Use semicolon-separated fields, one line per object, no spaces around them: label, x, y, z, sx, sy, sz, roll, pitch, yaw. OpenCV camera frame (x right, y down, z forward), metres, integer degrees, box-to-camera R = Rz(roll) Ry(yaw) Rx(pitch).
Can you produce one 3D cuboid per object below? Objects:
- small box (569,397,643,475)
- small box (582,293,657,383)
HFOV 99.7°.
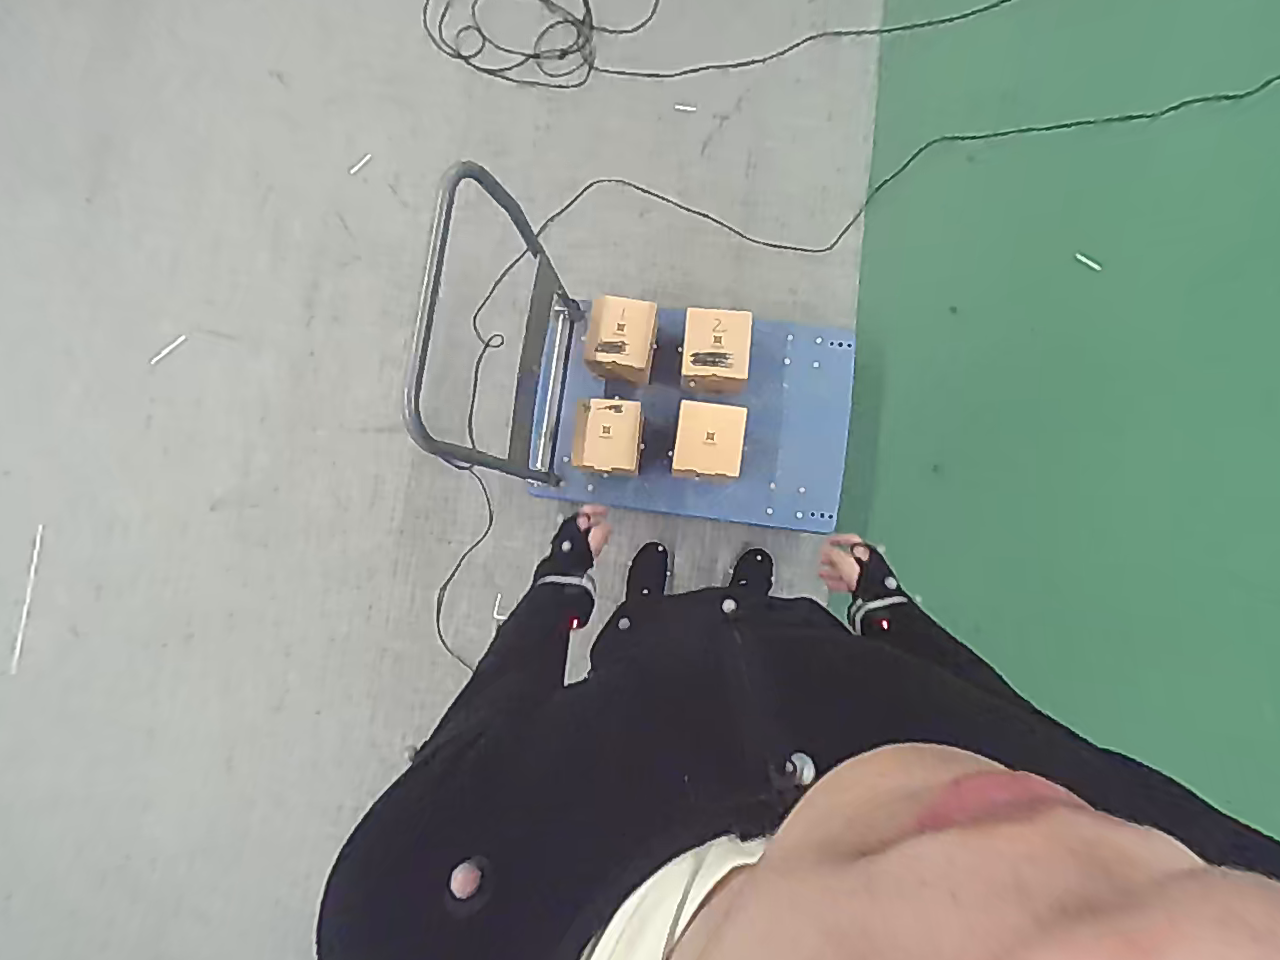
small box;-0.083;-0.109;1.416;0.168;0.176;0.179;5;86;3
small box;-0.048;-0.369;1.438;0.168;0.176;0.179;10;85;3
